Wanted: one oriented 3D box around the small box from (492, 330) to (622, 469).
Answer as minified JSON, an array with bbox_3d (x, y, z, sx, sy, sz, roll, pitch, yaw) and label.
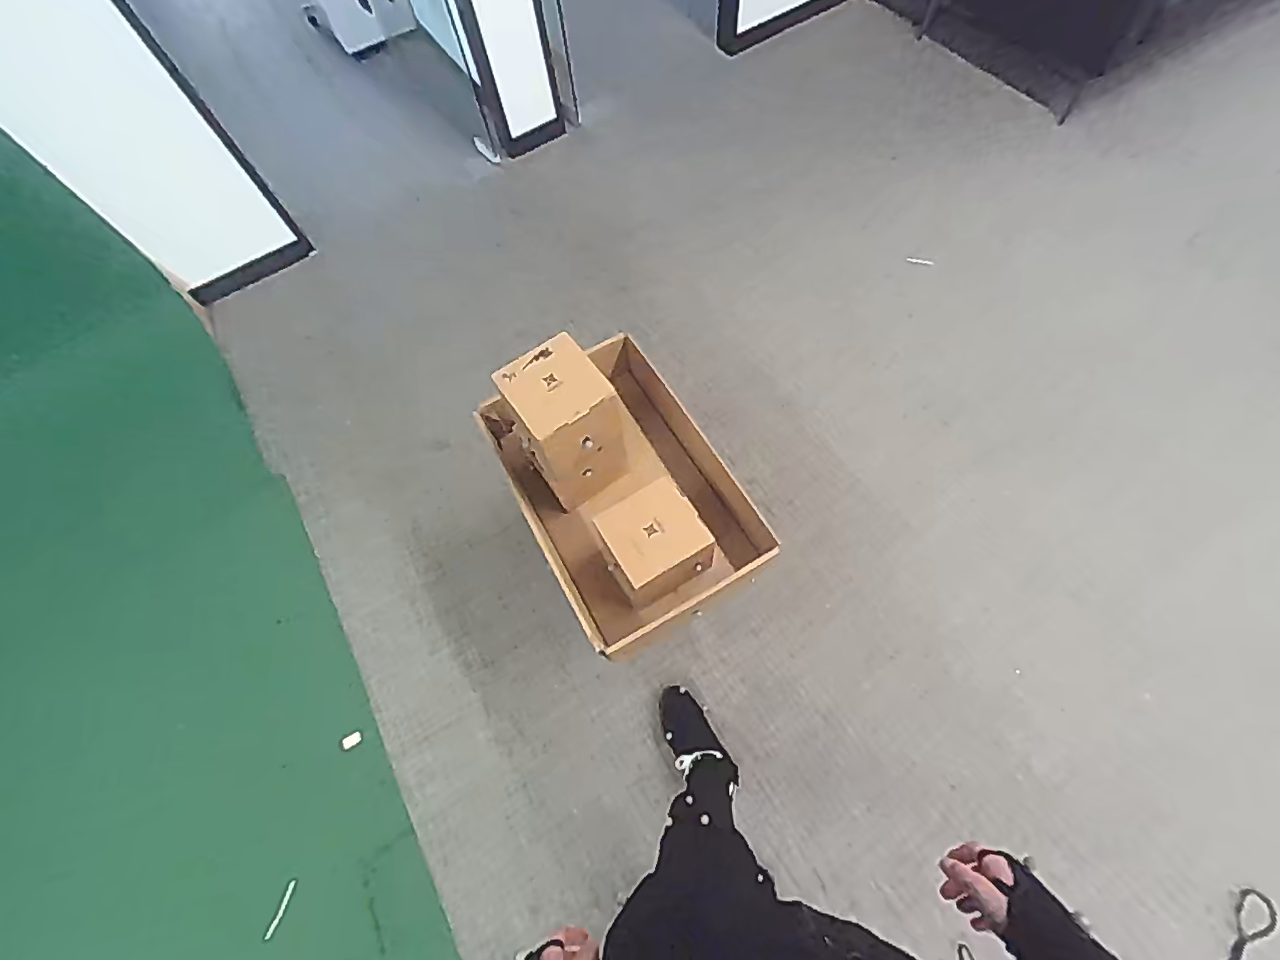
[{"bbox_3d":[-0.149,-0.142,1.030,0.168,0.176,0.179,-34,68,-11],"label":"small box"}]
